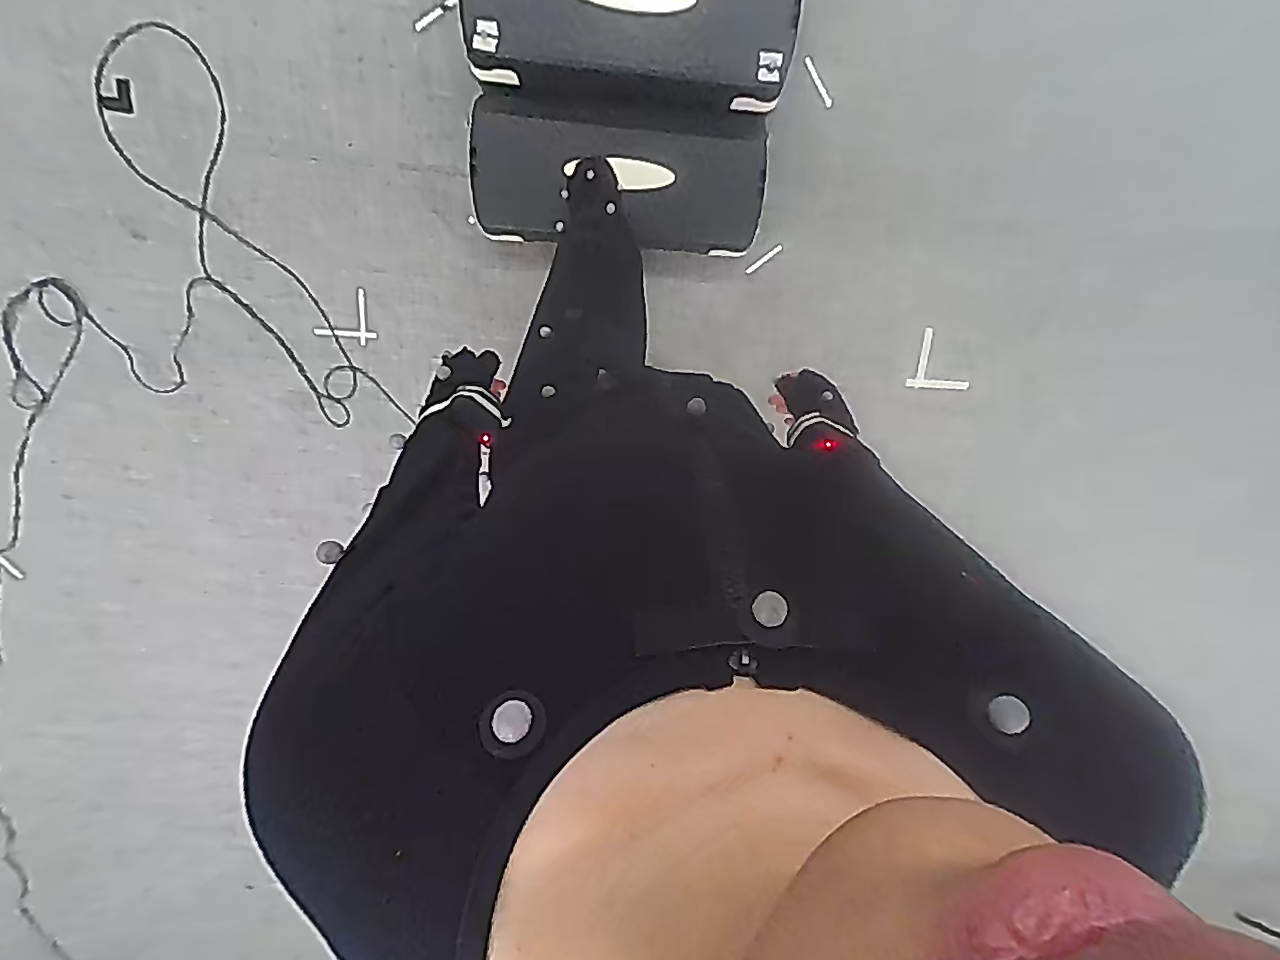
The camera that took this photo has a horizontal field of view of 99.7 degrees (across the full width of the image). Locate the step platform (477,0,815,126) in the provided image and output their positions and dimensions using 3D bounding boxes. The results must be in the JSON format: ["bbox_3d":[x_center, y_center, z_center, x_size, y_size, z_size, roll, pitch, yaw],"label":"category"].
[{"bbox_3d":[0.011,-0.961,1.133,0.684,0.204,0.286,3,106,-4],"label":"step platform"}]
